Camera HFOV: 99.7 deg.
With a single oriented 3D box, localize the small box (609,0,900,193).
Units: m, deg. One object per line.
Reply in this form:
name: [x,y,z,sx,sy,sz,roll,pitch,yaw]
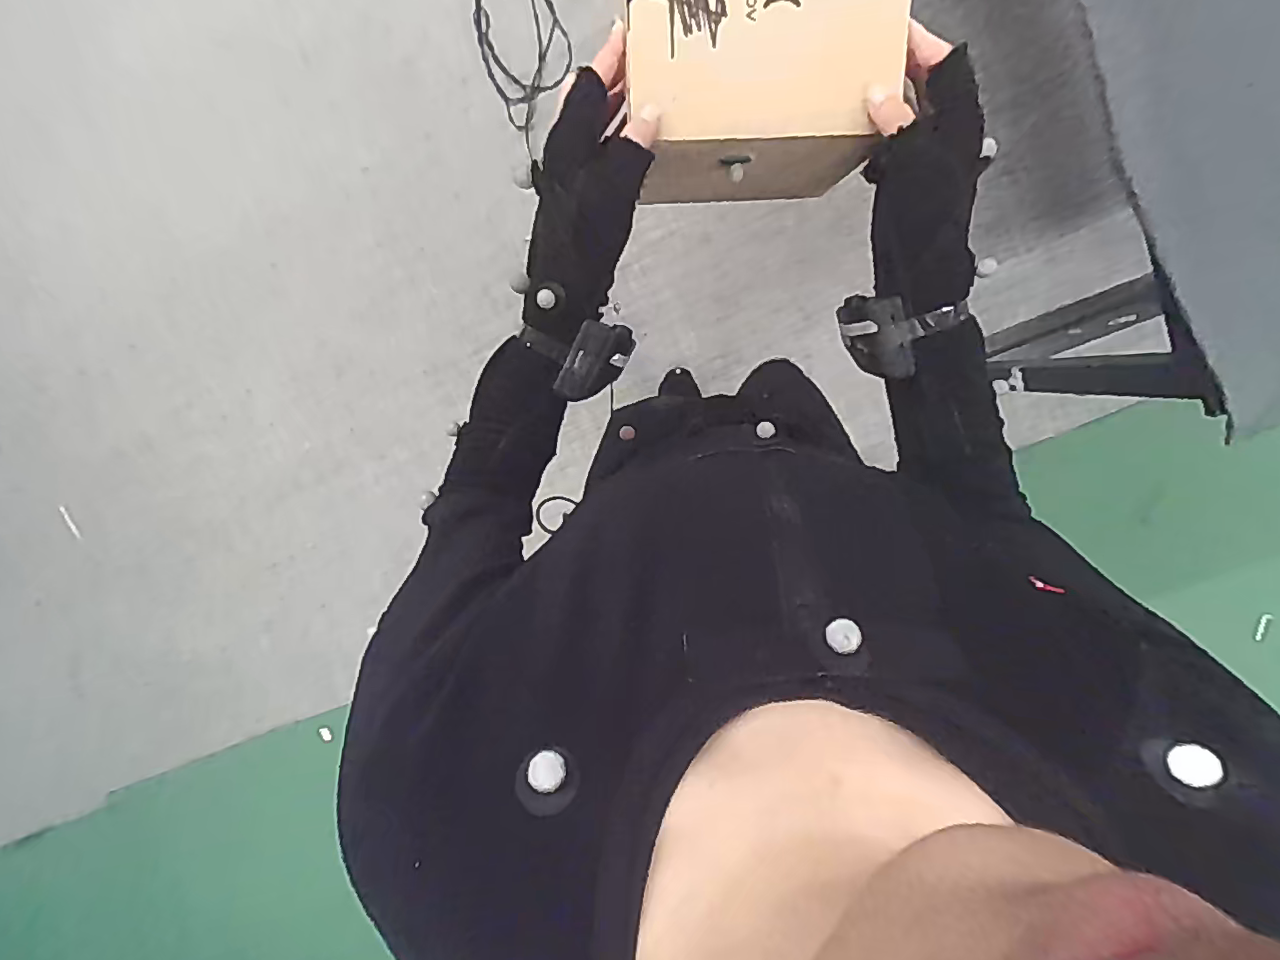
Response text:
small box: [0.070,-0.322,0.397,0.179,0.176,0.168,-2,105,1]
